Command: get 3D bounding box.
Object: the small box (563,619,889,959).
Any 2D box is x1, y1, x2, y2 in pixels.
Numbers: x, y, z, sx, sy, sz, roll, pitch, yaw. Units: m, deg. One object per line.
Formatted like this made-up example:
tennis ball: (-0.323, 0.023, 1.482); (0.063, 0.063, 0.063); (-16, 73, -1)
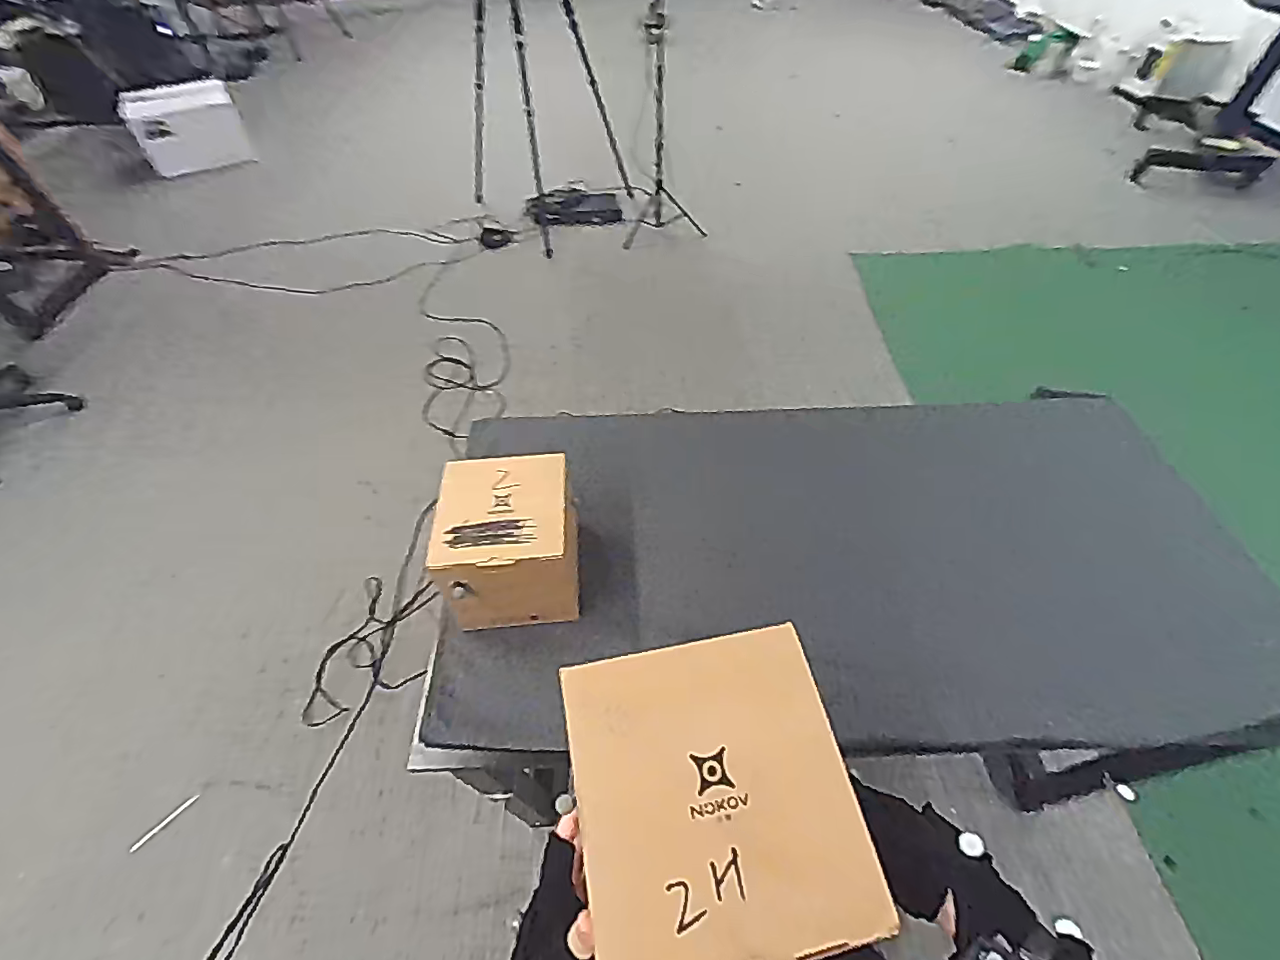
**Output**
small box: (0.039, 0.223, 0.394); (0.168, 0.176, 0.179); (-8, 58, -6)
